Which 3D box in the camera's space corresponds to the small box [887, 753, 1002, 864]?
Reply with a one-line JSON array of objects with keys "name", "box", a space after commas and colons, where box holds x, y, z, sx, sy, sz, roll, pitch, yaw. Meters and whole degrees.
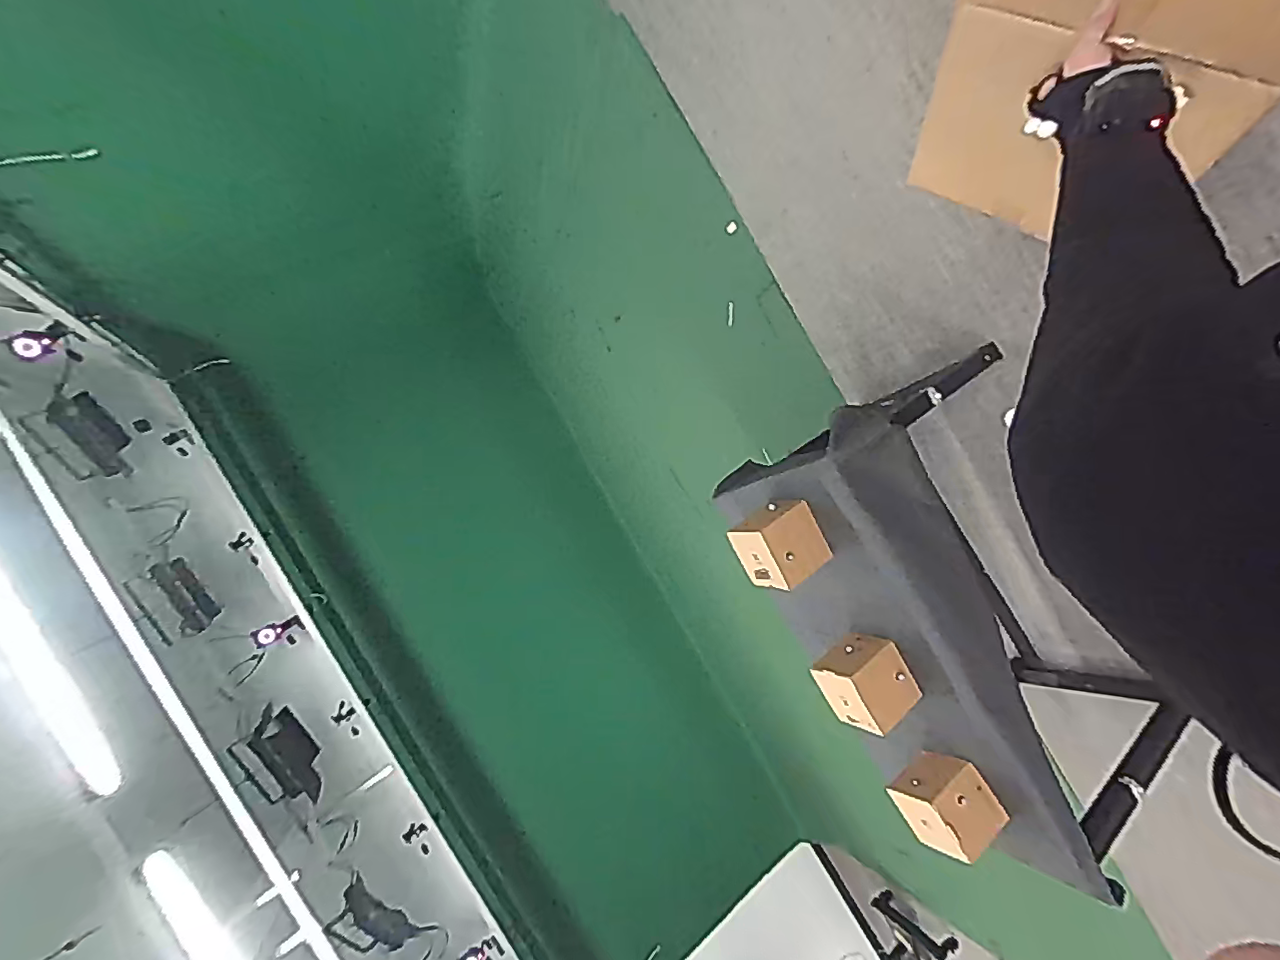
[{"name": "small box", "box": [0.804, 0.849, 1.420, 0.168, 0.176, 0.179, 58, 161, 8]}]

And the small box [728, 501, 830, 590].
[{"name": "small box", "box": [0.377, 0.172, 1.461, 0.179, 0.176, 0.168, 62, 158, -6]}]

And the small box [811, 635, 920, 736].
[{"name": "small box", "box": [0.605, 0.539, 1.449, 0.179, 0.176, 0.168, 61, 159, -2]}]
